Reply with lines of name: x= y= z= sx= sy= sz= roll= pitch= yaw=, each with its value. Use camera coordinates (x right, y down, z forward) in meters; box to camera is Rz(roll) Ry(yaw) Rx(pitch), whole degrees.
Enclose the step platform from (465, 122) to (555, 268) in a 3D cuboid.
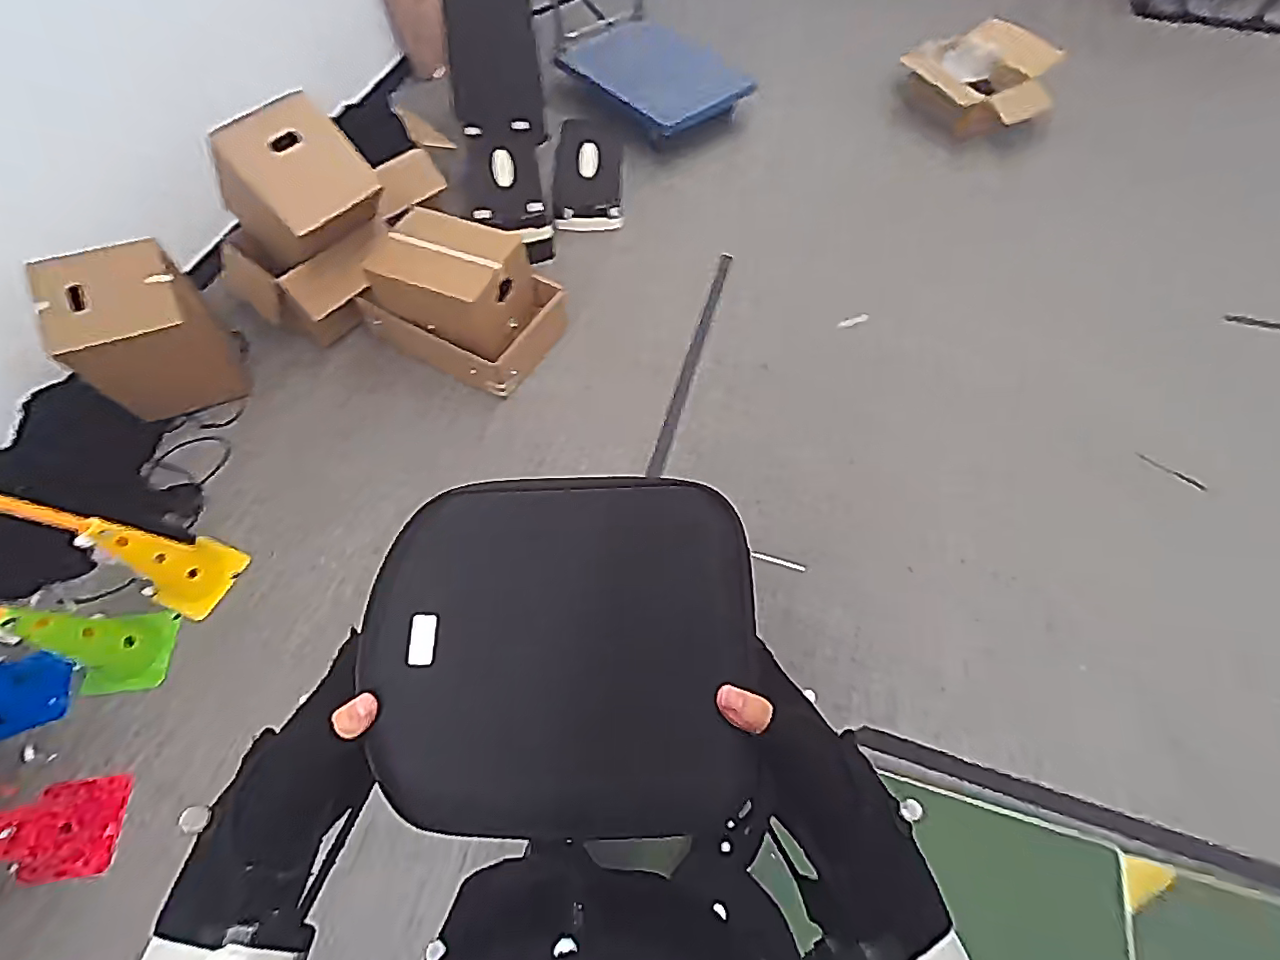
step platform: x=-0.538 y=-1.181 z=2.206 sx=0.286 sy=0.204 sz=0.684 roll=-11 pitch=63 yaw=-6
